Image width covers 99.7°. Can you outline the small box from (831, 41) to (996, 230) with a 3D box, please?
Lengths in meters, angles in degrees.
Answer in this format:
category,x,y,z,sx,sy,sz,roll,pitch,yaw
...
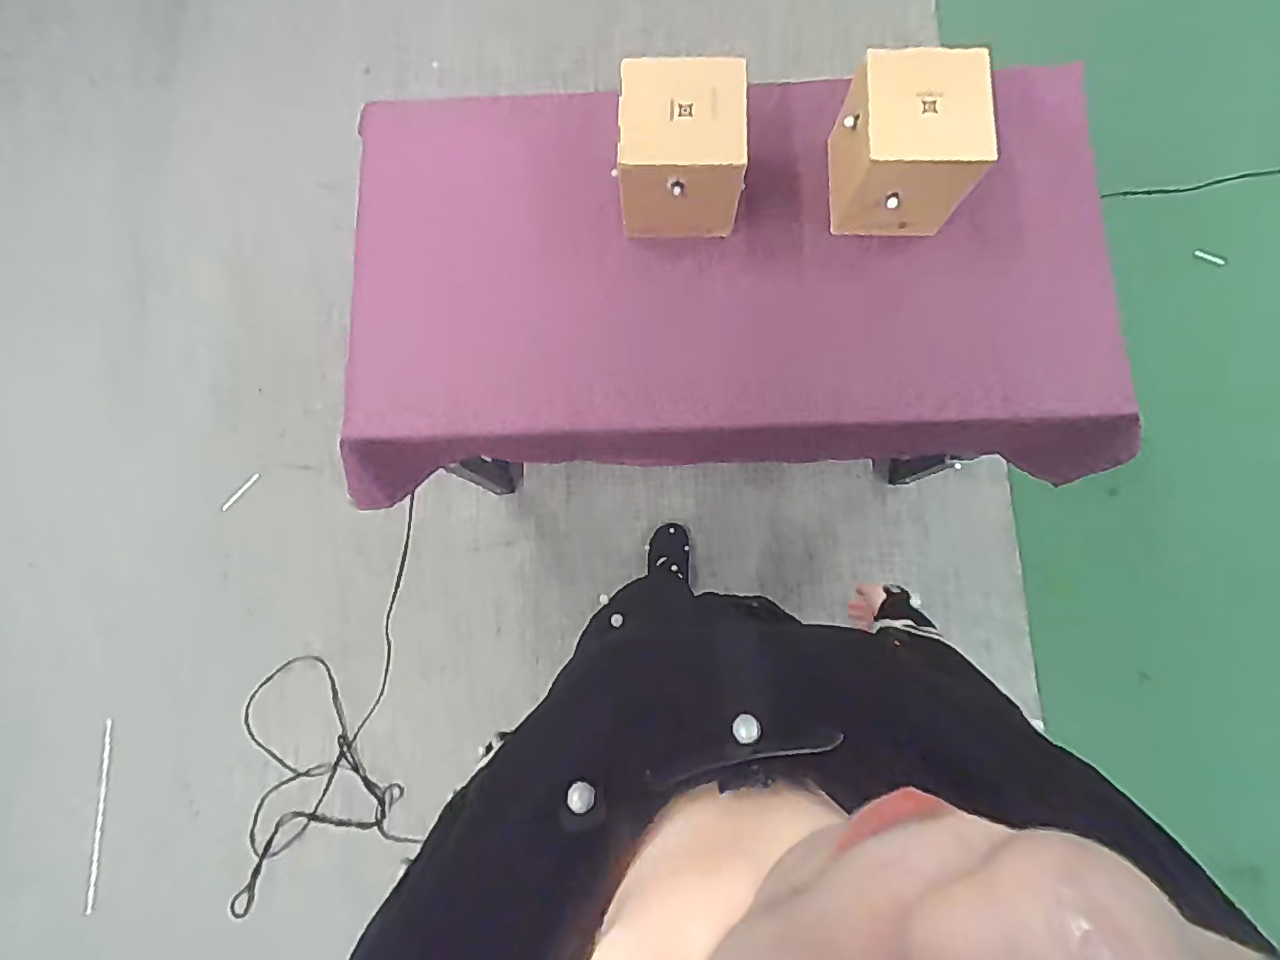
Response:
category,x,y,z,sx,sy,sz,roll,pitch,yaw
small box,0.387,-0.491,0.794,0.168,0.176,0.179,2,80,3

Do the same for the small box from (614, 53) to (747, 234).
category,x,y,z,sx,sy,sz,roll,pitch,yaw
small box,0.059,-0.491,0.808,0.179,0.176,0.168,2,81,2
